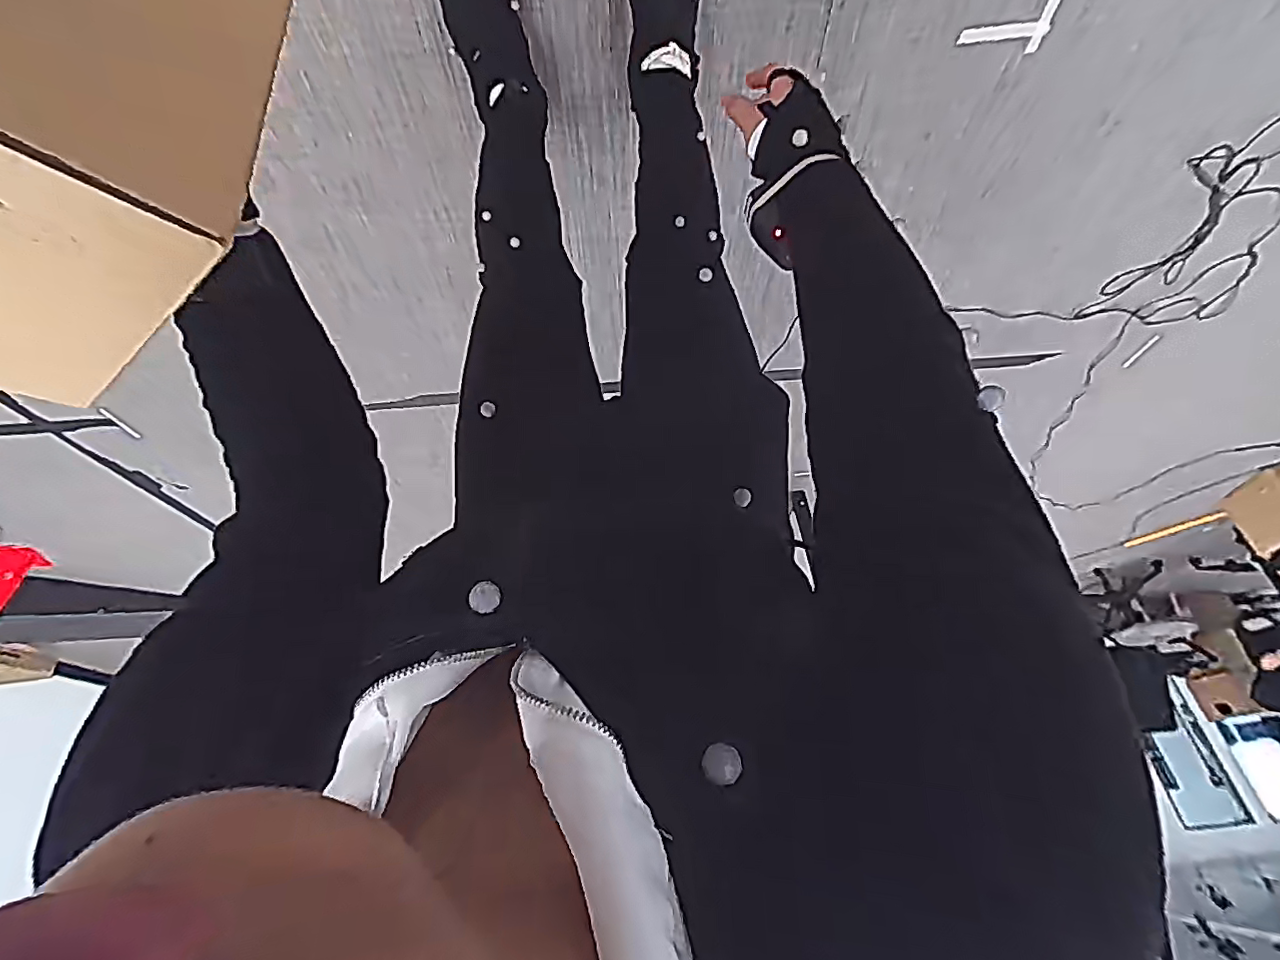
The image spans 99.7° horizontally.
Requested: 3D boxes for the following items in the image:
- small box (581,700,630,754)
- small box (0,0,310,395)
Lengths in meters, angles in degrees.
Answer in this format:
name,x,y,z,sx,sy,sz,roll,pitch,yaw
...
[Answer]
name,x,y,z,sx,sy,sz,roll,pitch,yaw
small box,-0.135,0.959,2.099,0.179,0.176,0.168,-4,149,-3
small box,-0.241,-0.156,0.180,0.168,0.176,0.179,-17,156,32
